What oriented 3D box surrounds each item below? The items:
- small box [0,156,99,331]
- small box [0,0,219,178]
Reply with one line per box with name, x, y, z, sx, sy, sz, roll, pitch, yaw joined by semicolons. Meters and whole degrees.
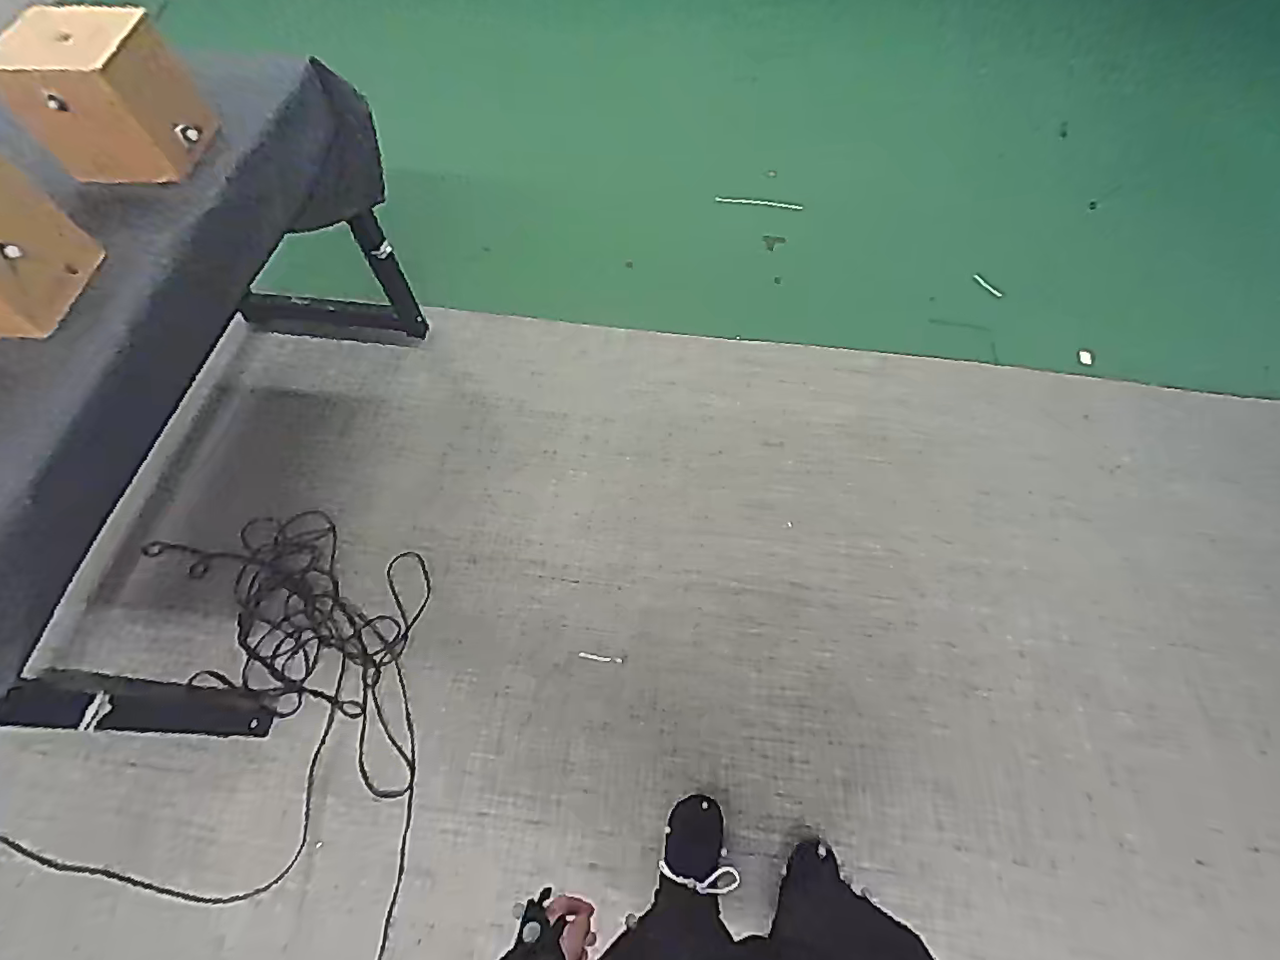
small box;-0.866;-0.305;0.683;0.179;0.176;0.168;1;63;0
small box;-0.811;-0.591;0.829;0.179;0.176;0.168;1;64;-1
